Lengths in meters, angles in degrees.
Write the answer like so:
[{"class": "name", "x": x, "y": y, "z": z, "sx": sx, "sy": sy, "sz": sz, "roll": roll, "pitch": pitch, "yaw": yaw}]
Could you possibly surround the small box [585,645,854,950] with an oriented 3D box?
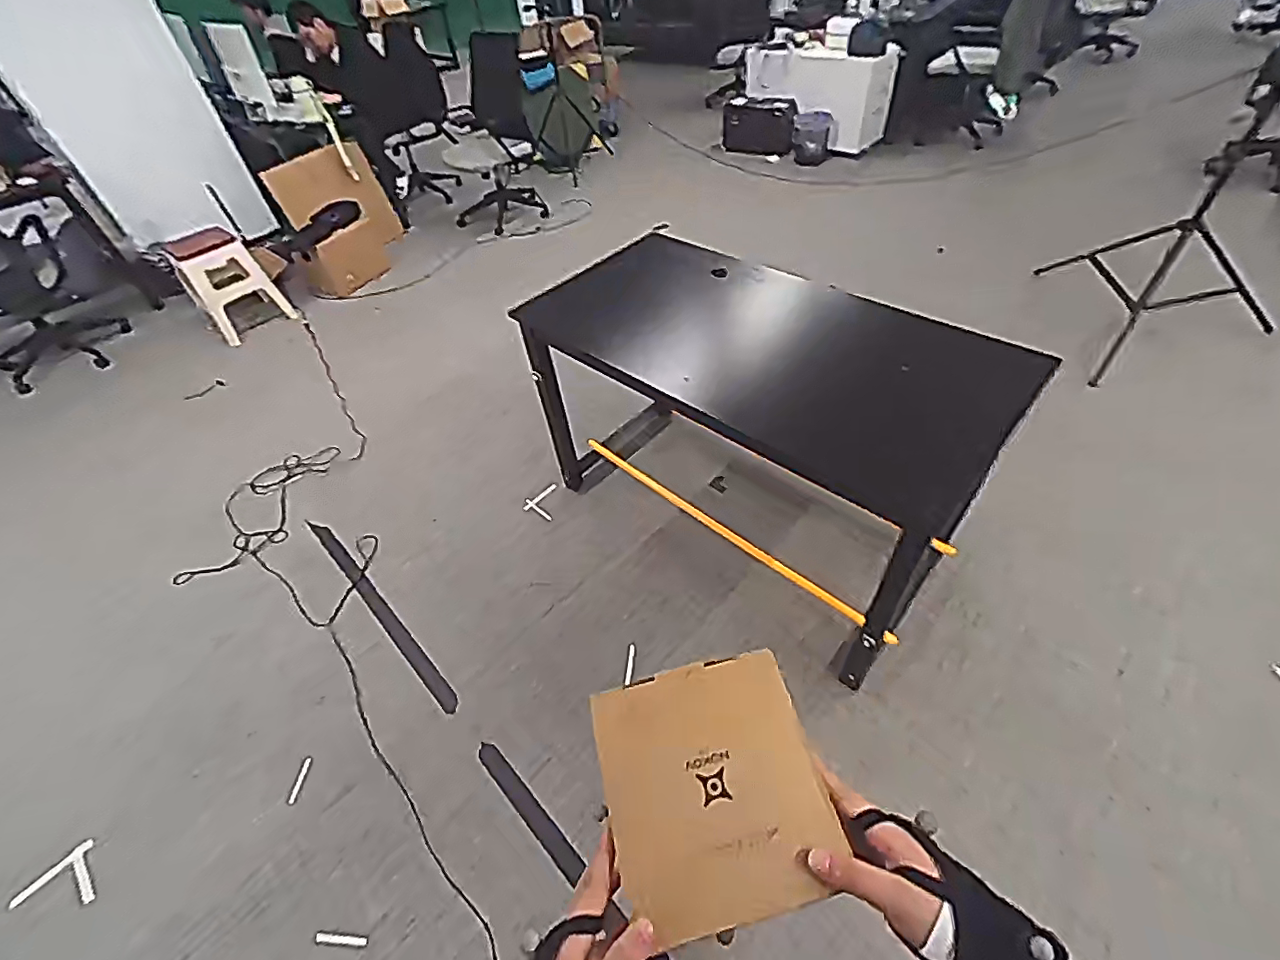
[{"class": "small box", "x": 0.052, "y": 0.273, "z": 0.476, "sx": 0.168, "sy": 0.176, "sz": 0.179, "roll": -13, "pitch": 55, "yaw": -6}]
